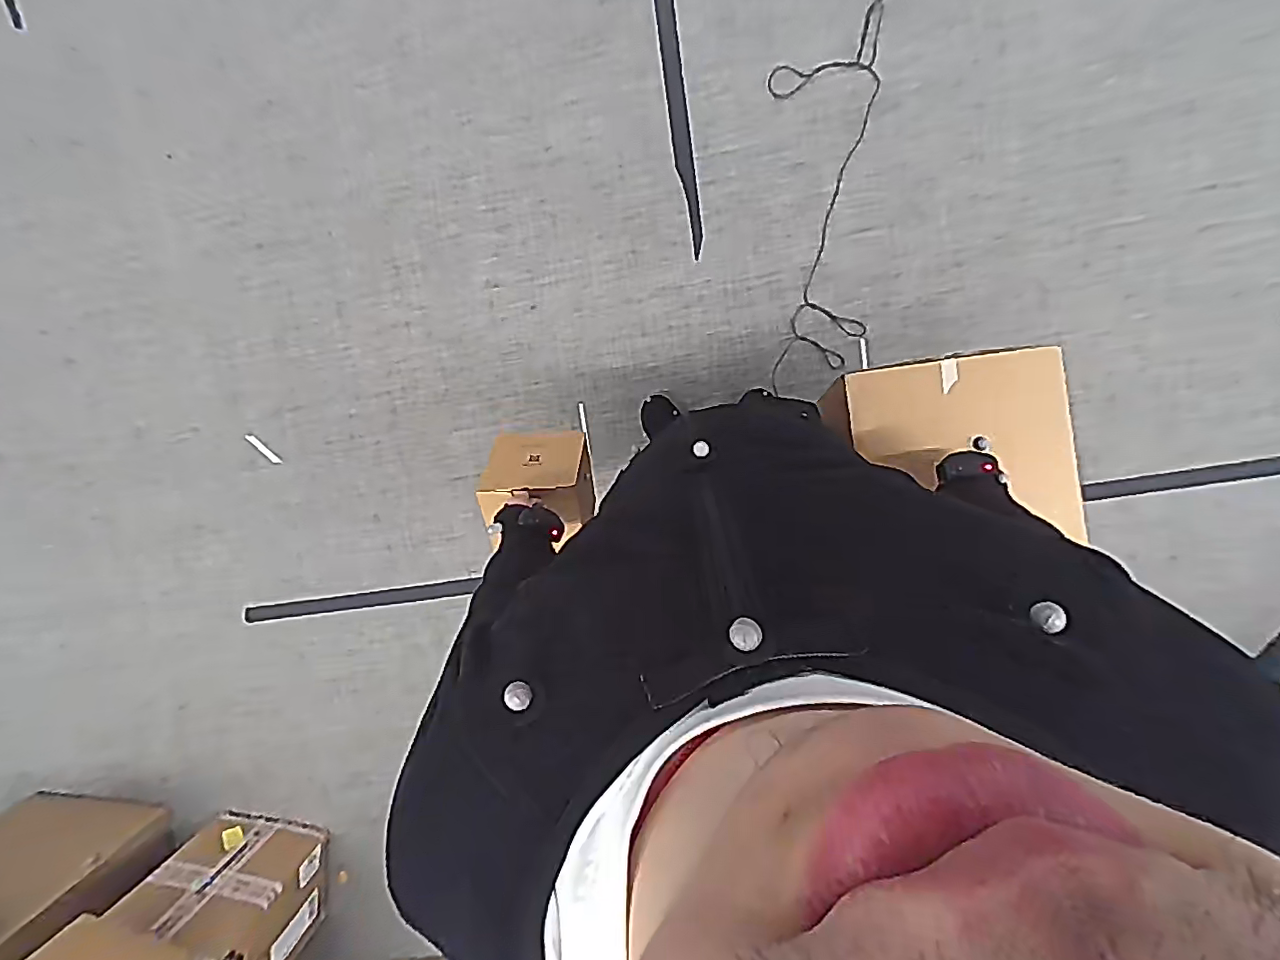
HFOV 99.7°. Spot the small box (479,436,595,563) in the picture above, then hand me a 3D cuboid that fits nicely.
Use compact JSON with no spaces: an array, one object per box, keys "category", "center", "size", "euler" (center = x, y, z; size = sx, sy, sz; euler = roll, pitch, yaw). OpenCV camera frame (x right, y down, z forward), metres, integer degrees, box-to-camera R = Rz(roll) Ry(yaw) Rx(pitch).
[{"category":"small box","center":[-0.176,0.038,0.990],"size":[0.168,0.179,0.176],"euler":[-2,125,2]}]
